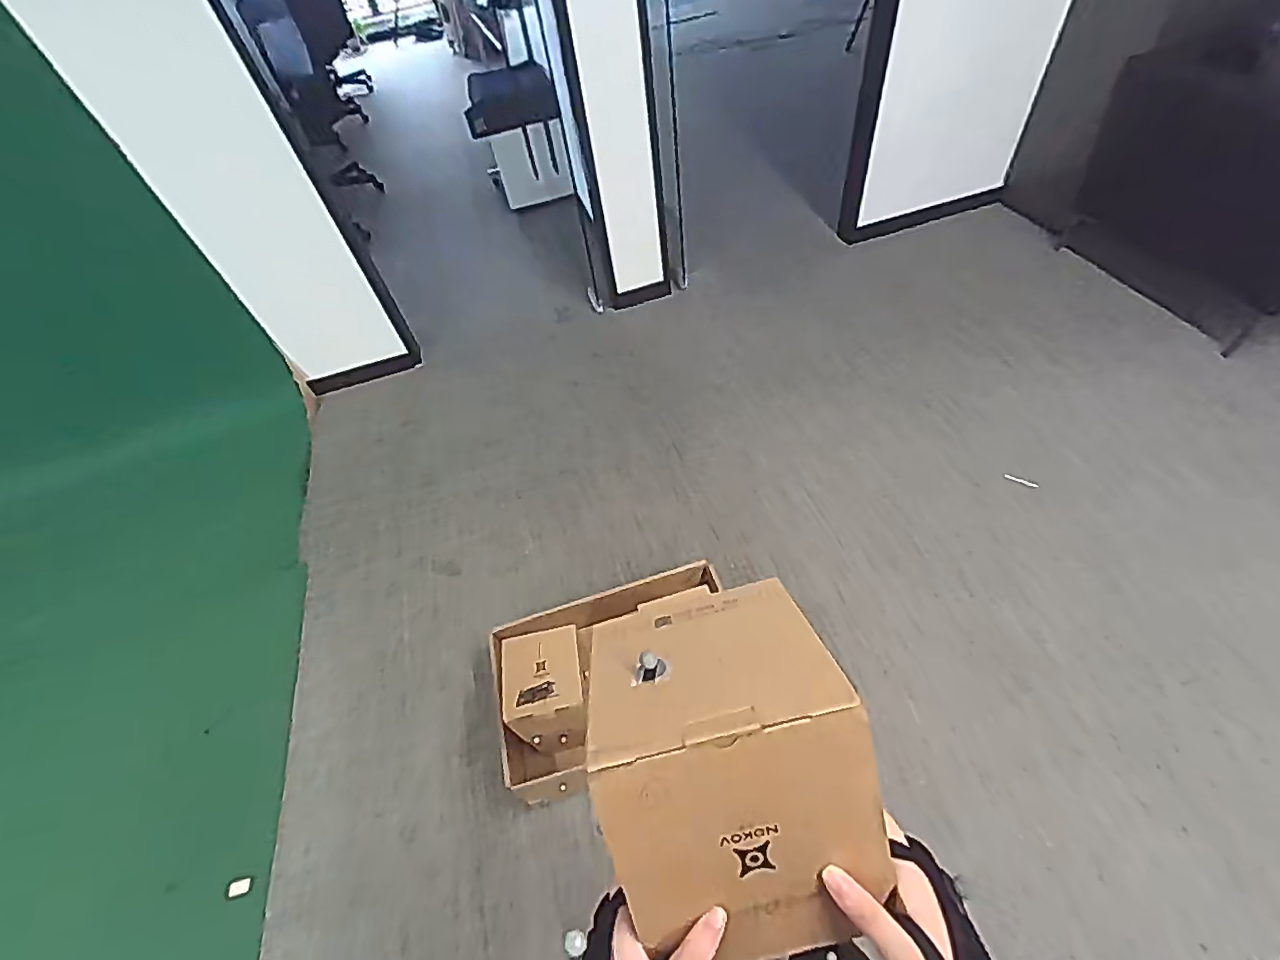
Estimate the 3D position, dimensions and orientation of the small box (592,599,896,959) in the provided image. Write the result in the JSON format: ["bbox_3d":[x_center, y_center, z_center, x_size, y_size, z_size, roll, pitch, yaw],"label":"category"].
[{"bbox_3d":[0.064,0.208,0.409,0.168,0.179,0.176,-14,14,1],"label":"small box"}]

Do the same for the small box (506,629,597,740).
[{"bbox_3d":[-0.190,0.457,1.191,0.168,0.176,0.179,-12,50,-1],"label":"small box"}]
